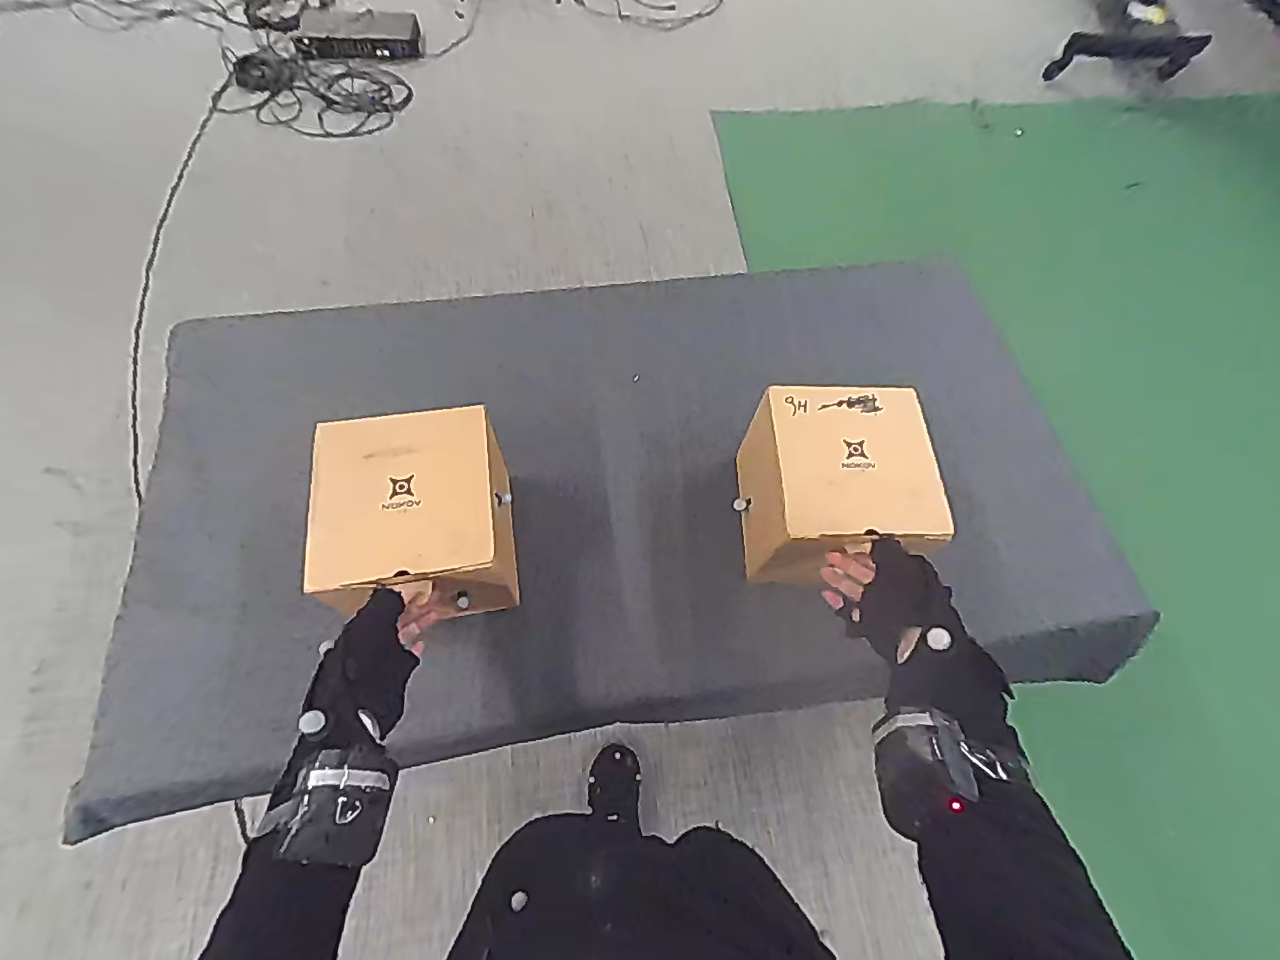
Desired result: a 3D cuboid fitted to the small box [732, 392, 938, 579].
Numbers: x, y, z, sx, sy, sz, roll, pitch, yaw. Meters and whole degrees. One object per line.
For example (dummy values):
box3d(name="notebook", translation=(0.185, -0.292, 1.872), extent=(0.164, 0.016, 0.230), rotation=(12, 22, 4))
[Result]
box3d(name="small box", translation=(0.209, 0.016, 0.634), extent=(0.168, 0.176, 0.179), rotation=(1, 66, -3))

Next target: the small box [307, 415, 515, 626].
box3d(name="small box", translation=(-0.236, 0.054, 0.594), extent=(0.168, 0.176, 0.179), rotation=(-8, 64, -9))
